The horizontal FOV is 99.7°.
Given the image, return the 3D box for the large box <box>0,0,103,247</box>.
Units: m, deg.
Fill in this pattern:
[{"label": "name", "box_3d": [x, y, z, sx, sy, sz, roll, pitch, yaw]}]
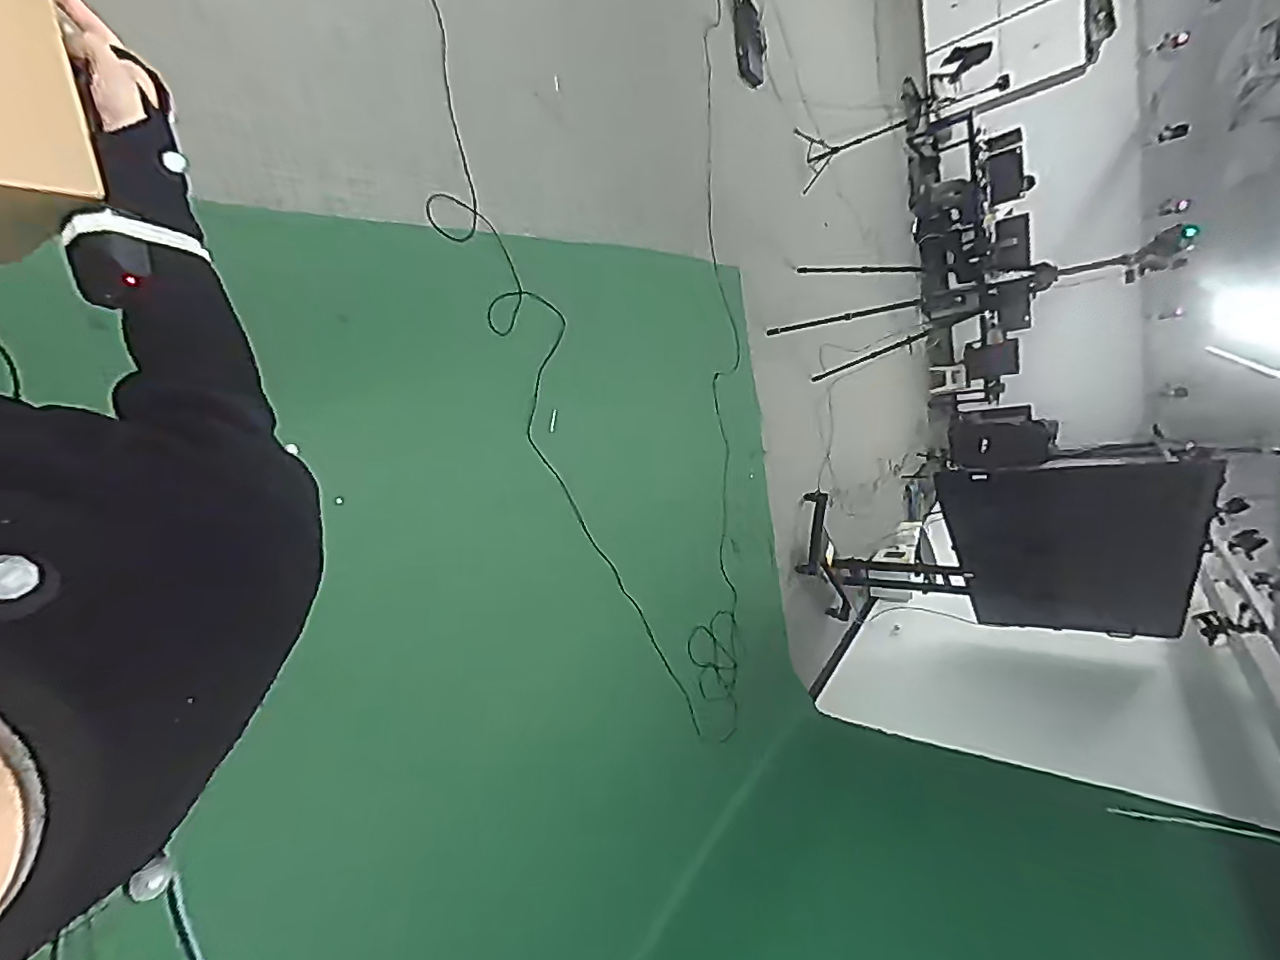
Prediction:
[{"label": "large box", "box_3d": [-0.678, -0.340, 0.324, 0.408, 0.320, 0.320, -25, 113, -54]}]
